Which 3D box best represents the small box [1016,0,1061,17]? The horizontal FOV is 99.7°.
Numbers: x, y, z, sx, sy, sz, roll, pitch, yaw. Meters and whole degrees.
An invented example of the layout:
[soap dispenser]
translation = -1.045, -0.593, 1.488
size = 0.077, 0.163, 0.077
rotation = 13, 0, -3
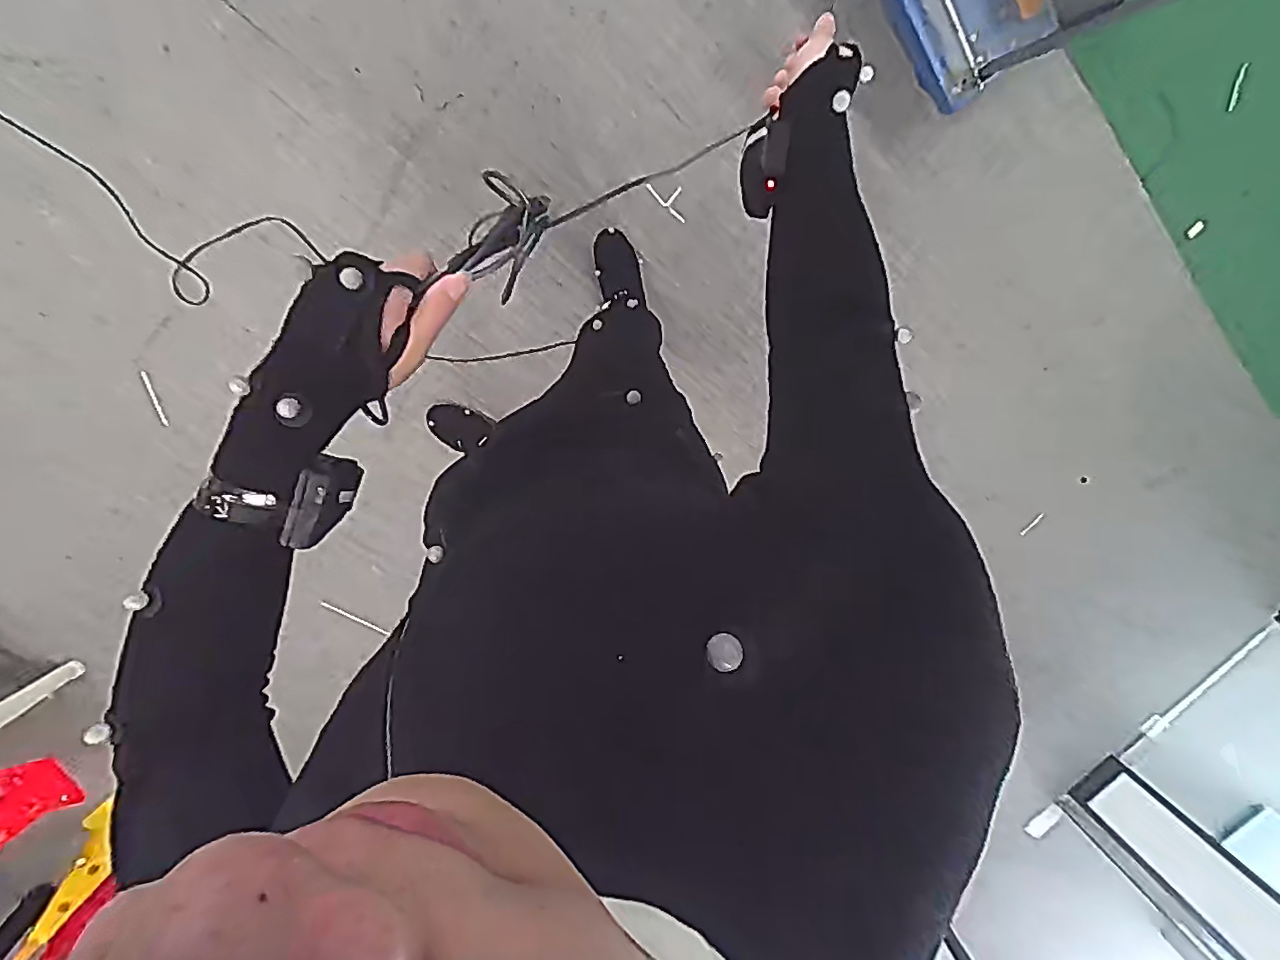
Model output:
[small box]
translation = 0.909, -1.133, 1.124
size = 0.179, 0.176, 0.168
rotation = -38, 112, 6
